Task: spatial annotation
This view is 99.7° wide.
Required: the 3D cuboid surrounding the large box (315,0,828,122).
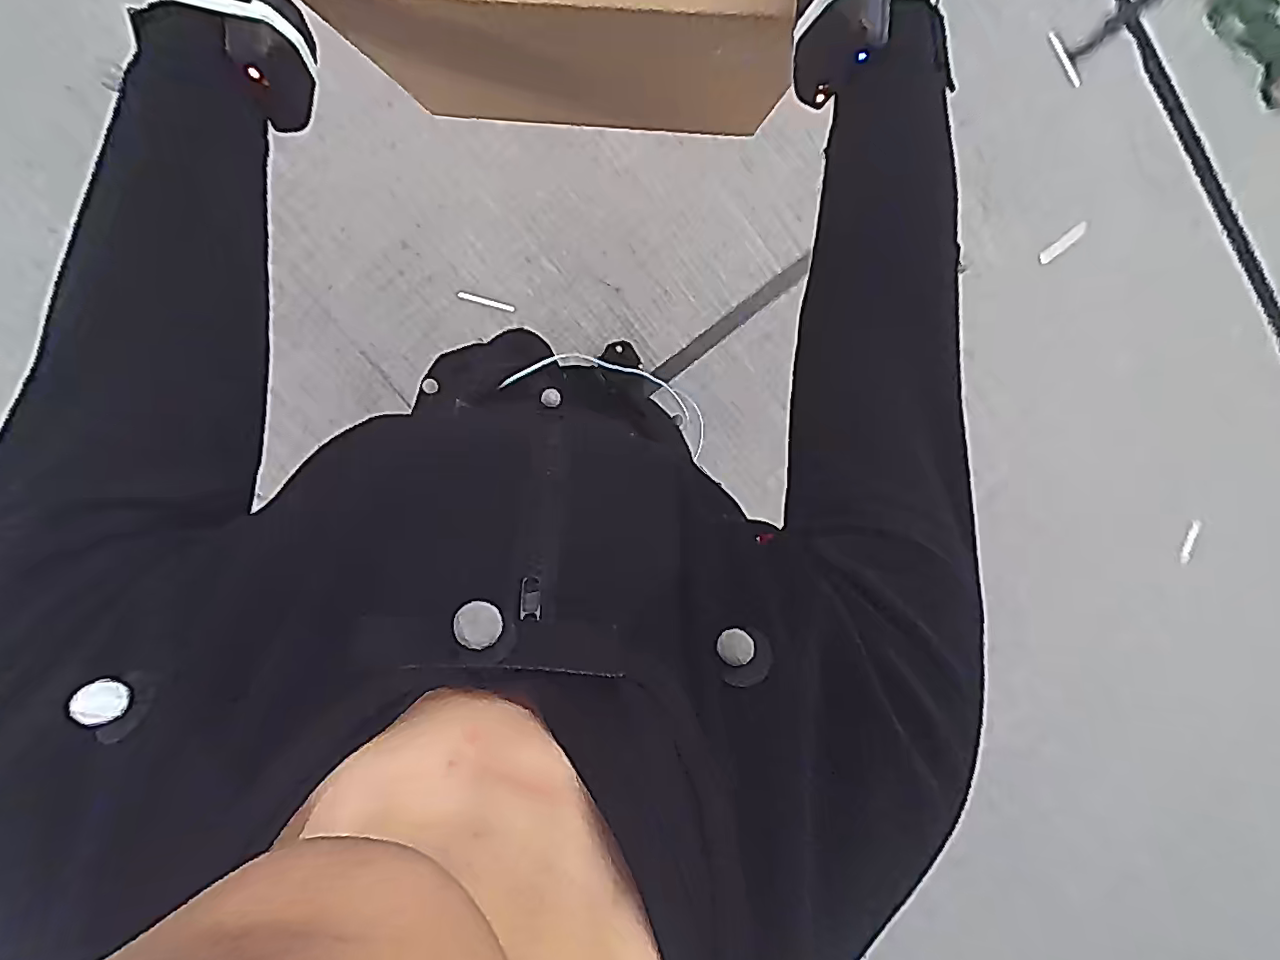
[{"bbox_3d":[-0.056,-0.546,0.487,0.408,0.320,0.320,1,110,-2],"label":"large box"}]
